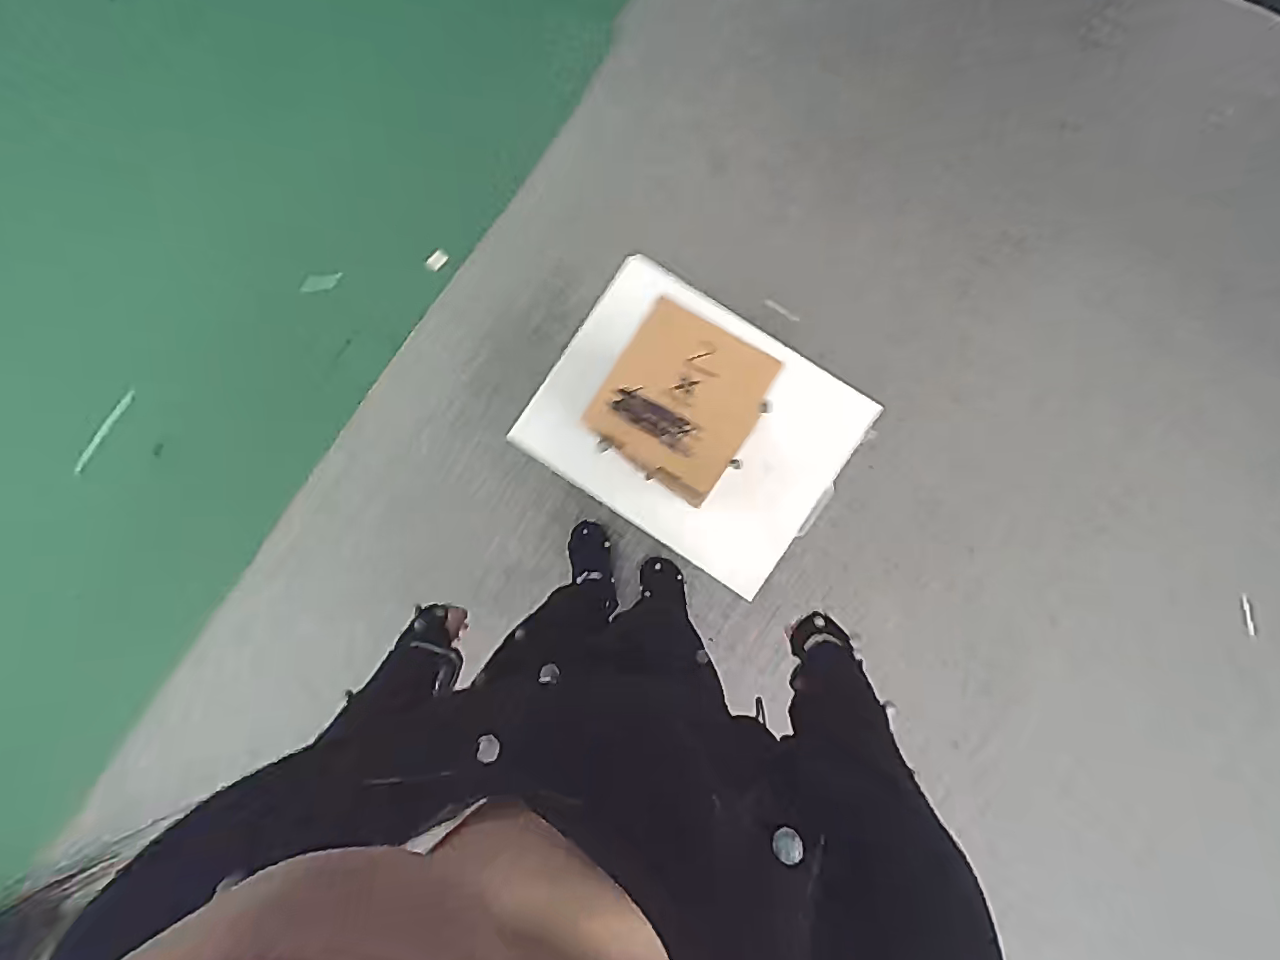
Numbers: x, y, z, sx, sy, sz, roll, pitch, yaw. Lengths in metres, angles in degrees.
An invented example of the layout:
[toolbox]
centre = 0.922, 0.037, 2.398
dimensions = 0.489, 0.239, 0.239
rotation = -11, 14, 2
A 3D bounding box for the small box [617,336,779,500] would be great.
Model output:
[small box]
centre = 0.085, -0.084, 0.836
dimensions = 0.168, 0.176, 0.179
rotation = 35, 89, 7
